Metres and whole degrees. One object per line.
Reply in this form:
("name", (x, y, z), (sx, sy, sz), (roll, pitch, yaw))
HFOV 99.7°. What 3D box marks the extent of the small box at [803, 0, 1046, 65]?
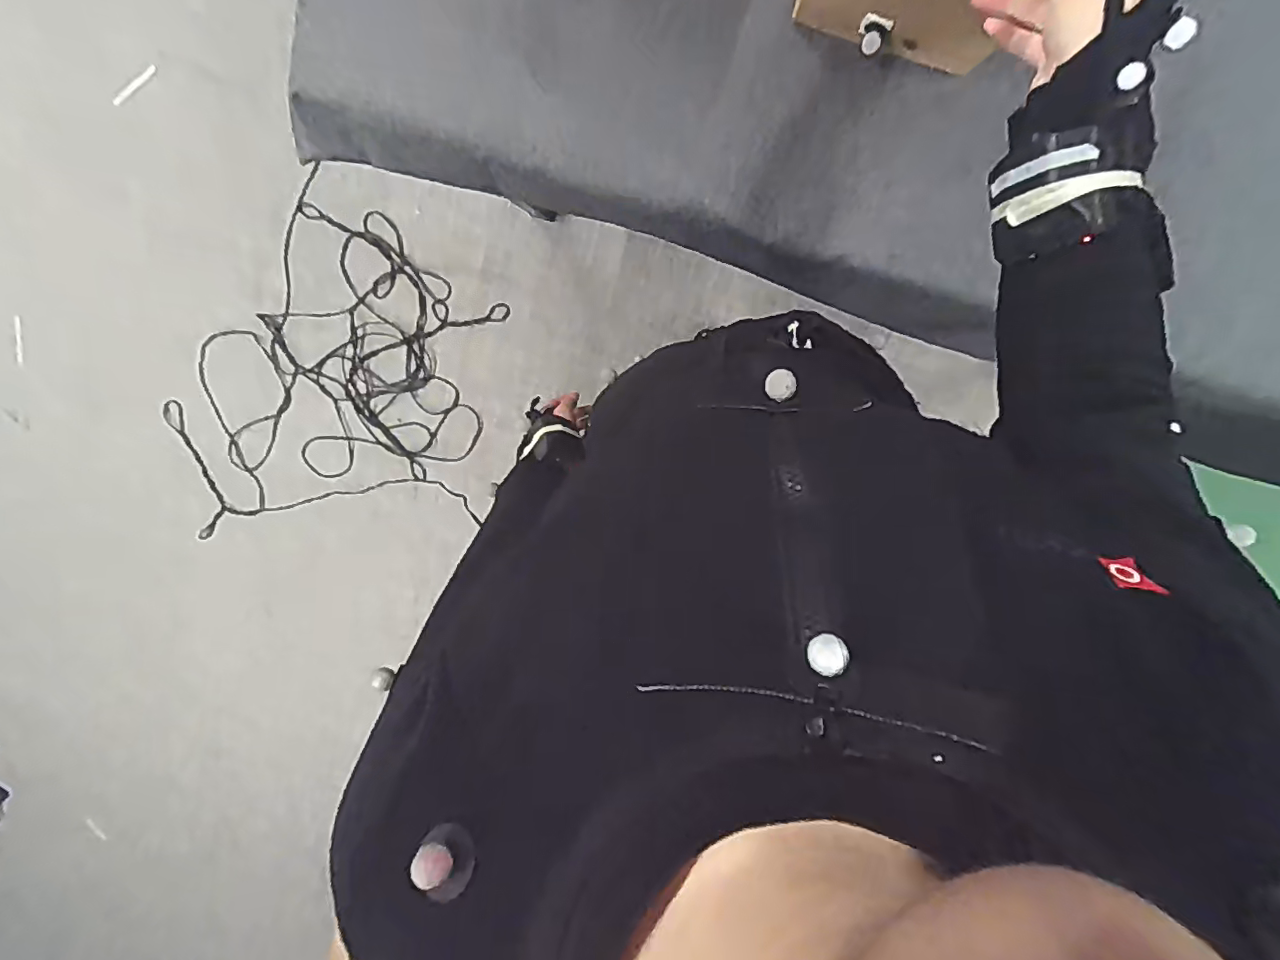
("small box", (0.227, -0.439, 0.375), (0.168, 0.176, 0.179), (16, 110, 1))
